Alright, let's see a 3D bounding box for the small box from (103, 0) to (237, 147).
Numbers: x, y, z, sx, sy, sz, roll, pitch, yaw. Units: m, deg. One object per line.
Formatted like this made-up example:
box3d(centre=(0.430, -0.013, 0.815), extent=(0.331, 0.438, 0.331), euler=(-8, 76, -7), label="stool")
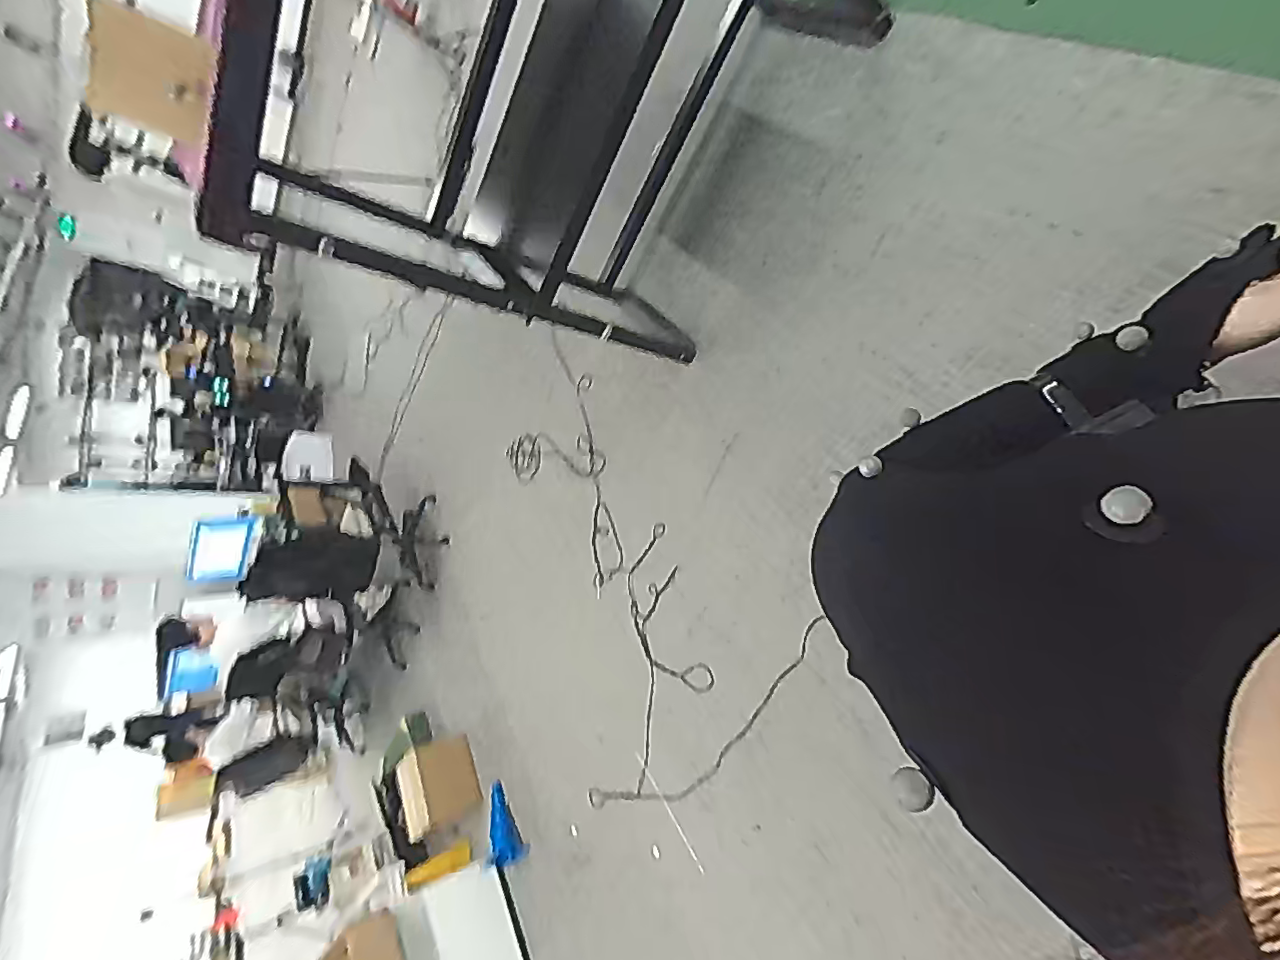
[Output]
box3d(centre=(-0.863, -0.752, 0.999), extent=(0.179, 0.176, 0.168), euler=(52, 123, 36), label="small box")
